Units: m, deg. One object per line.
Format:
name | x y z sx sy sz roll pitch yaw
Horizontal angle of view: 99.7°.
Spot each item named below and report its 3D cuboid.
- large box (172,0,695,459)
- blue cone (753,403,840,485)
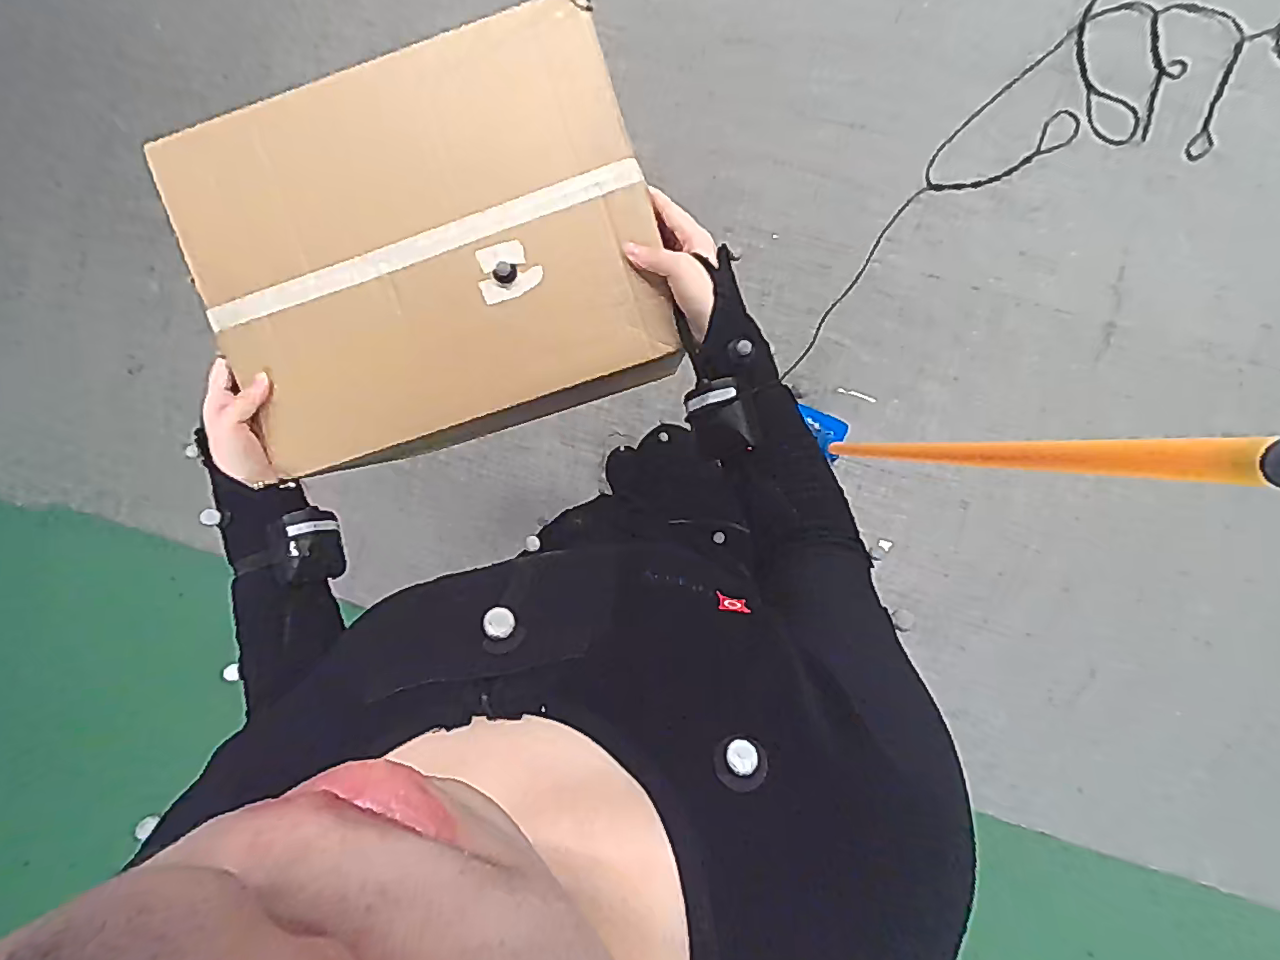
large box | -0.183 -0.237 0.632 0.408 0.320 0.320 -17 97 2
blue cone | 0.405 -0.079 1.288 0.193 0.380 0.192 25 98 3
